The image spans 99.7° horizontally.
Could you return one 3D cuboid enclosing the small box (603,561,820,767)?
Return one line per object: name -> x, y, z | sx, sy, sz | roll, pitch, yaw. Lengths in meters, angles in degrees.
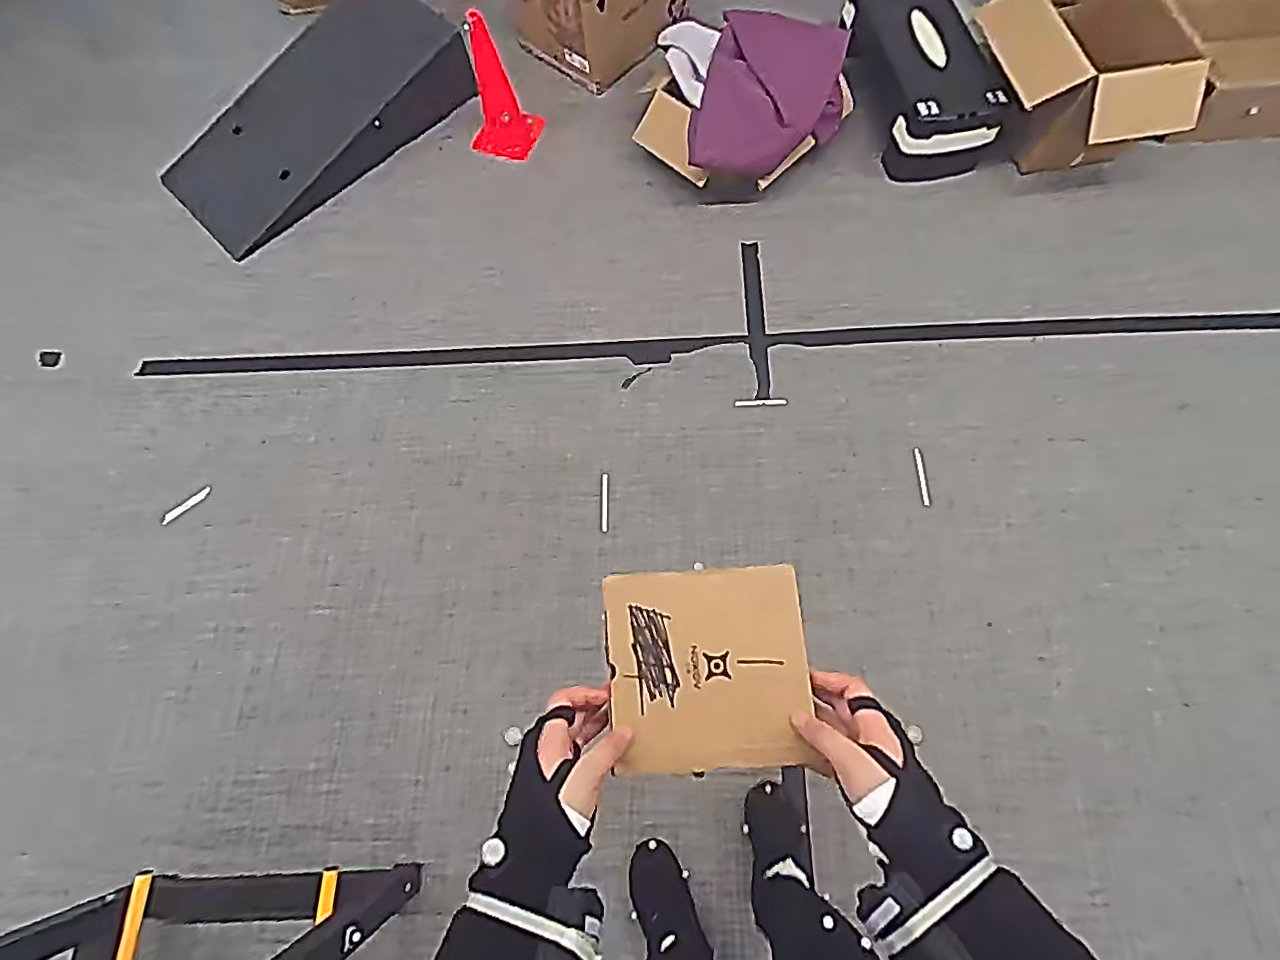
small box -> 0.059, 0.179, 0.544 | 0.179, 0.176, 0.168 | -4, 74, -1
